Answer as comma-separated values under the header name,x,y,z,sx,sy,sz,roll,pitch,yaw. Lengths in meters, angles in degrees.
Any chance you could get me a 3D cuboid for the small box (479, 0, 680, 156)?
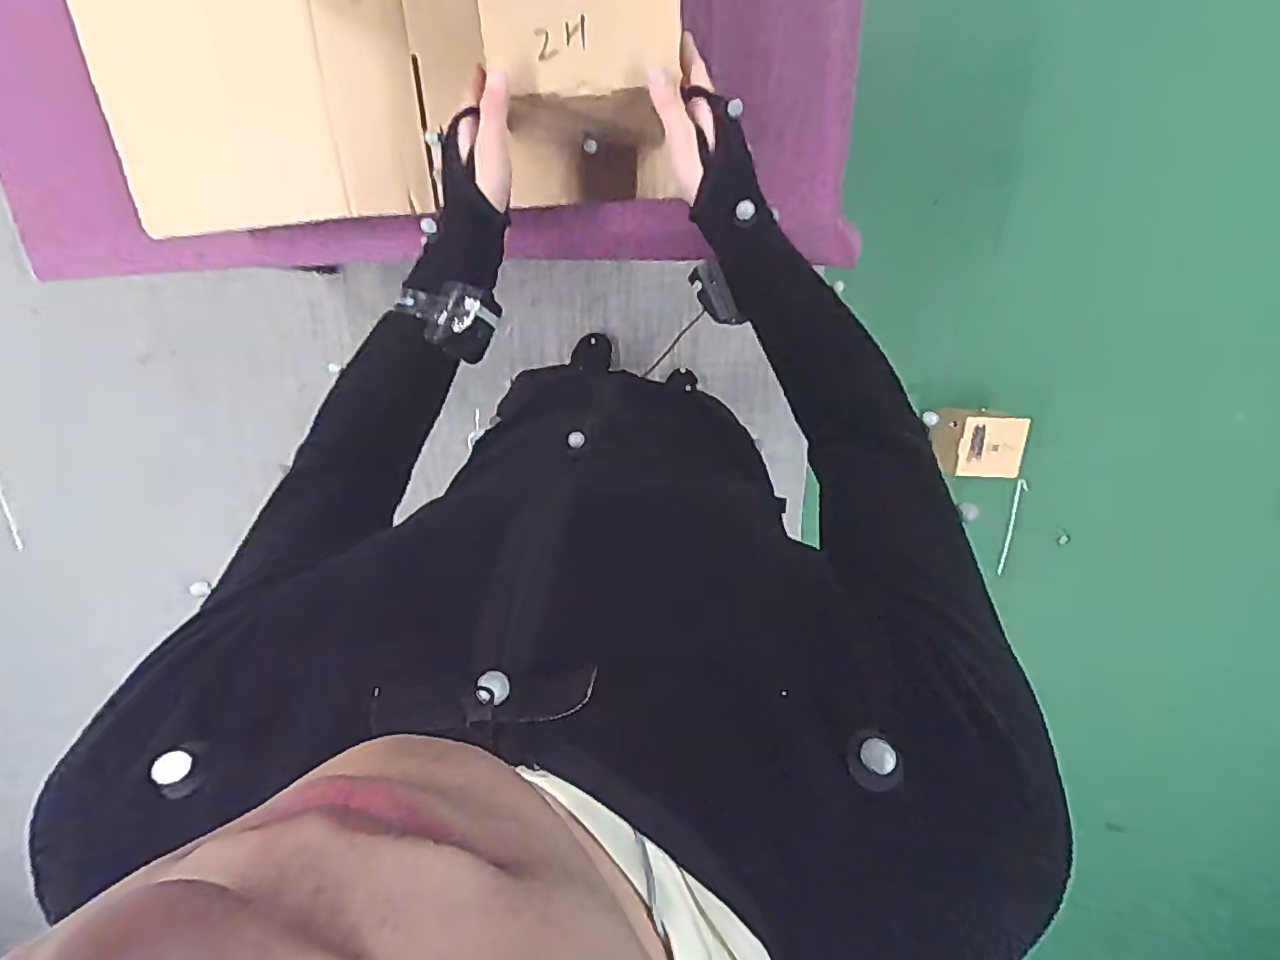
name,x,y,z,sx,sy,sz,roll,pitch,yaw
small box,-0.055,-0.432,0.513,0.168,0.176,0.179,-4,107,-1
